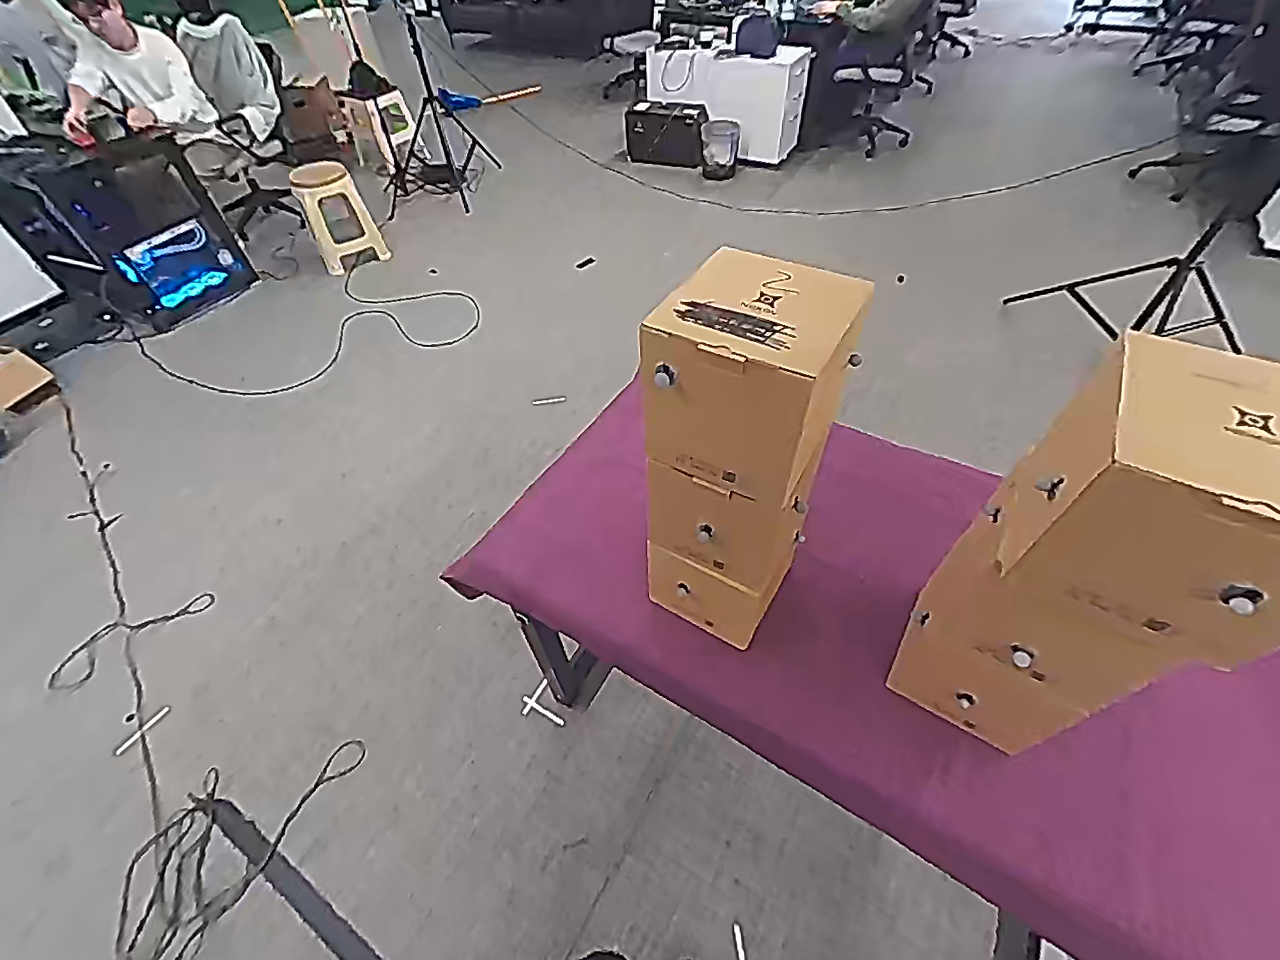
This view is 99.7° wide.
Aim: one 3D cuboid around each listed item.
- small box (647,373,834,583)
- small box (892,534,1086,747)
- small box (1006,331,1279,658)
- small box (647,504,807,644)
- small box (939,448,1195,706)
[{"bbox_3d":[0.123,-0.001,0.685,0.168,0.176,0.179,23,54,20],"label":"small box"},{"bbox_3d":[0.452,0.211,0.703,0.168,0.176,0.179,27,55,22],"label":"small box"},{"bbox_3d":[0.435,0.013,0.444,0.168,0.176,0.179,24,54,20],"label":"small box"},{"bbox_3d":[0.126,0.112,0.805,0.168,0.176,0.179,25,54,22],"label":"small box"},{"bbox_3d":[0.451,0.103,0.579,0.168,0.176,0.179,26,56,23],"label":"small box"}]
